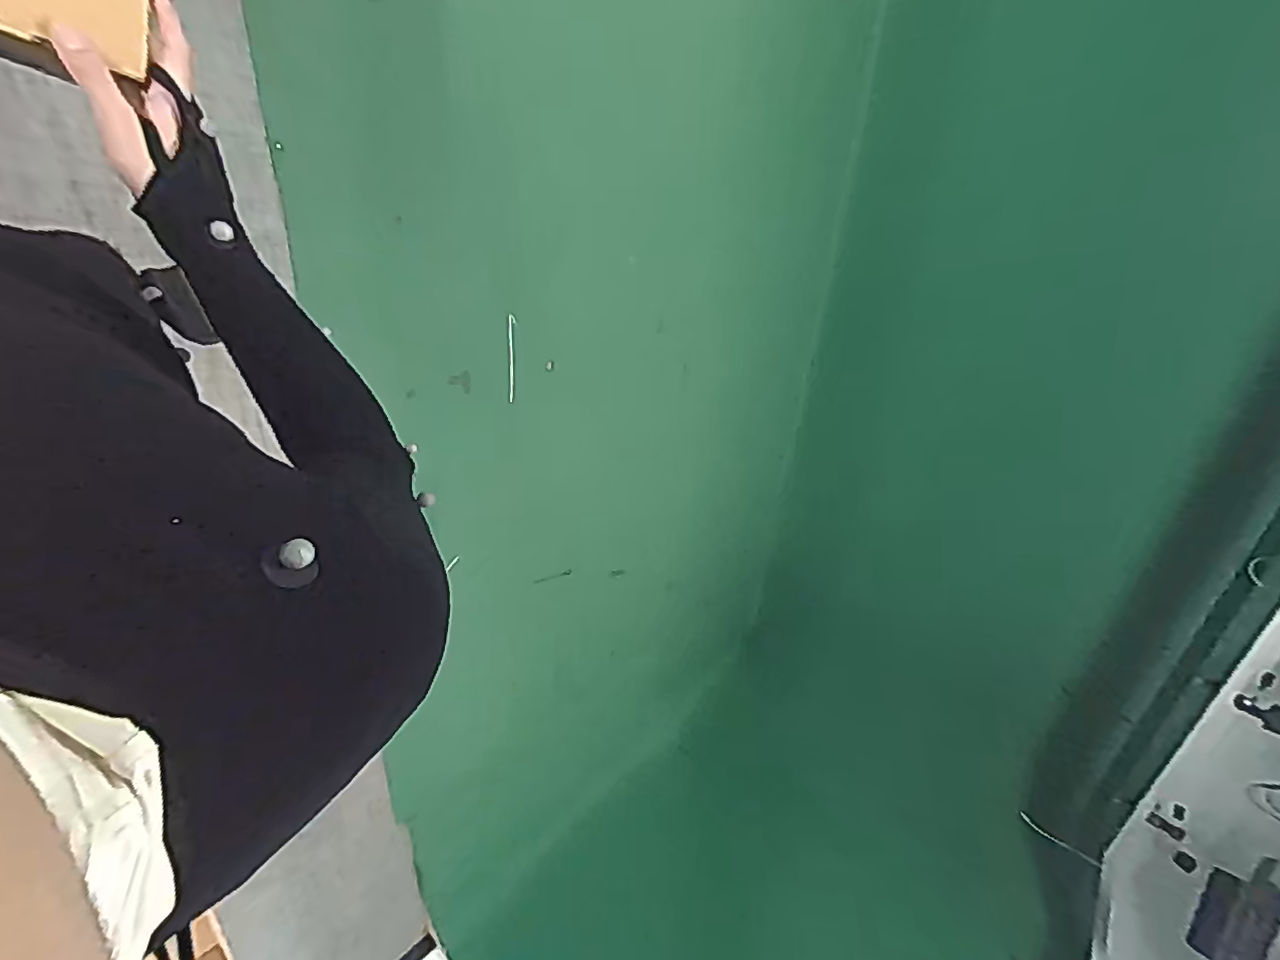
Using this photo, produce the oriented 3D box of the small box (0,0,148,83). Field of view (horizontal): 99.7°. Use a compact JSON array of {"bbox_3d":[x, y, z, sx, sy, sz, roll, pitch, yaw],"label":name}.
[{"bbox_3d":[-0.463,-0.419,0.379,0.168,0.176,0.179,0,112,-47],"label":"small box"}]
